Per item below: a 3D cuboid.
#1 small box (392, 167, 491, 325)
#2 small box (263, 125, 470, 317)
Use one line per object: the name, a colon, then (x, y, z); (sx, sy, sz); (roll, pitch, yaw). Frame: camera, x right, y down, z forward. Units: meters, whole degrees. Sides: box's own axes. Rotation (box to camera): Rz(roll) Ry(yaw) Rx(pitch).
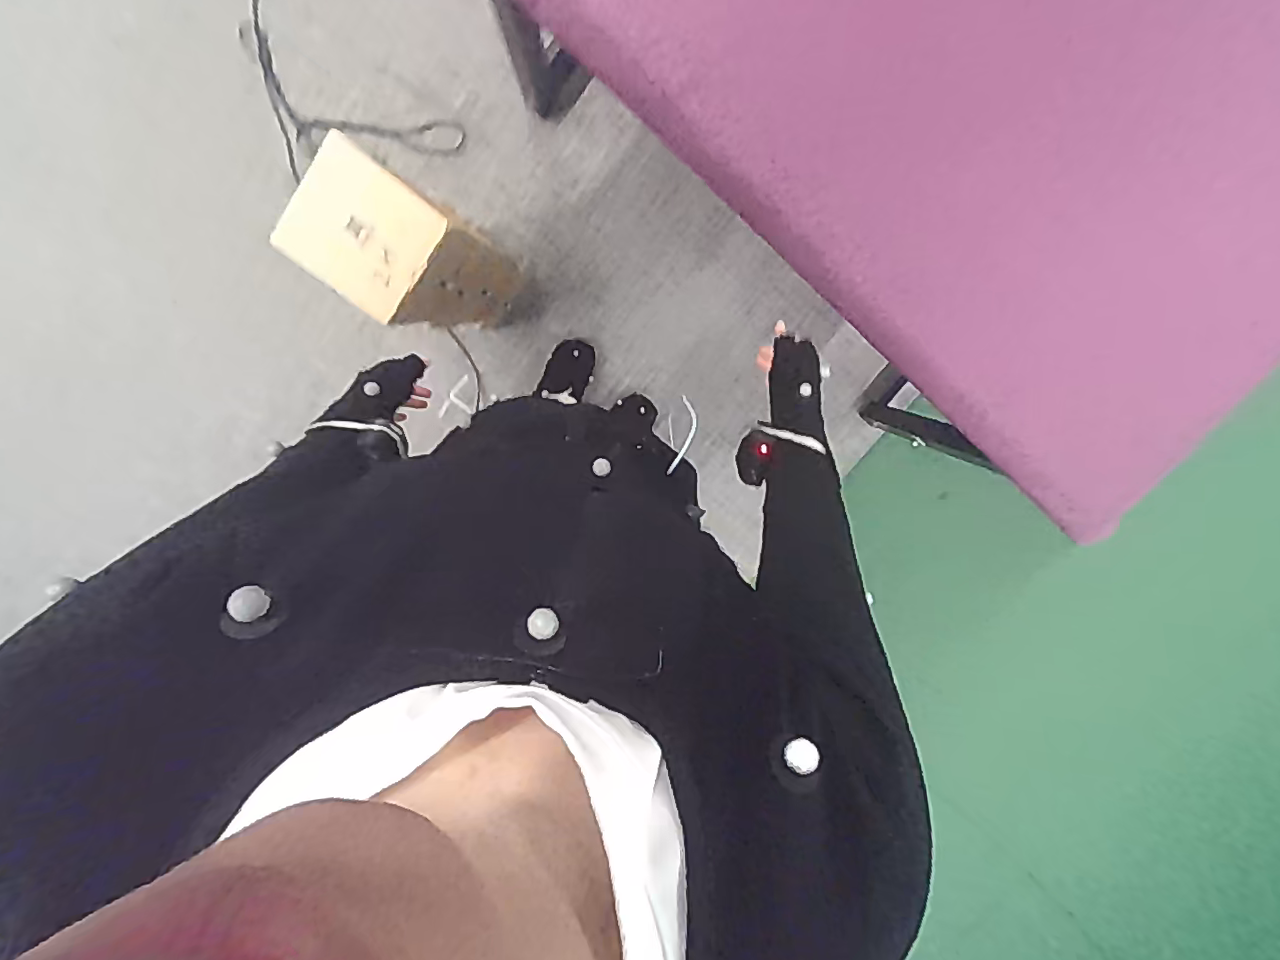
small box: (-0.378, -0.393, 0.936); (0.168, 0.176, 0.179); (37, 102, -14)
small box: (-0.375, -0.352, 0.776); (0.179, 0.176, 0.168); (37, 102, -14)
